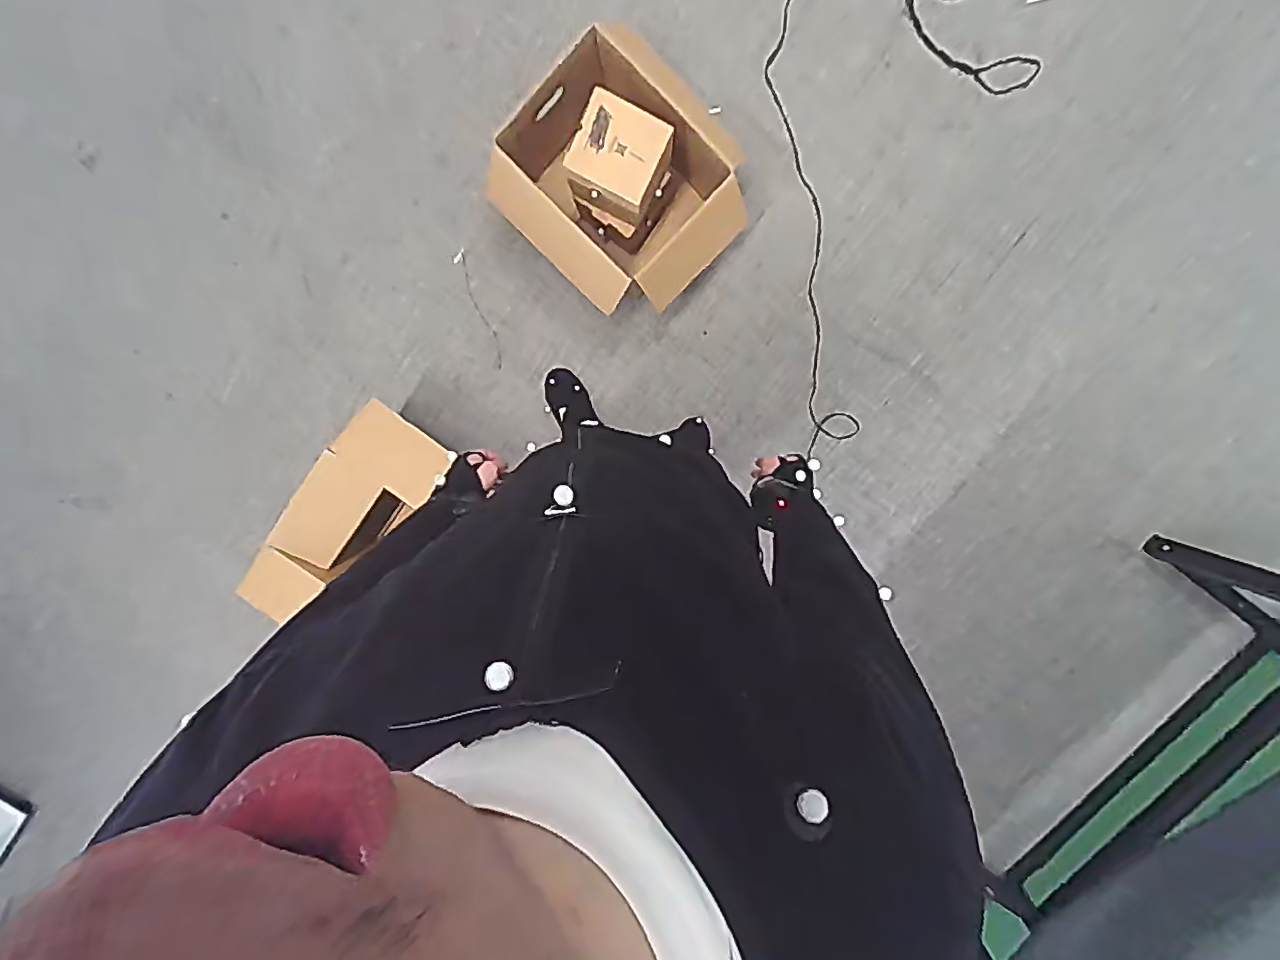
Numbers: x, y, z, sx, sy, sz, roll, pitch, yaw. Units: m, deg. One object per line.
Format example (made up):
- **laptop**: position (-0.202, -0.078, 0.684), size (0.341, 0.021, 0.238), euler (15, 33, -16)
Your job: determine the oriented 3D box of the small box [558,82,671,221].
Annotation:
- **small box**: position (-0.049, -0.683, 1.152), size (0.179, 0.176, 0.168), euler (30, 101, -4)
